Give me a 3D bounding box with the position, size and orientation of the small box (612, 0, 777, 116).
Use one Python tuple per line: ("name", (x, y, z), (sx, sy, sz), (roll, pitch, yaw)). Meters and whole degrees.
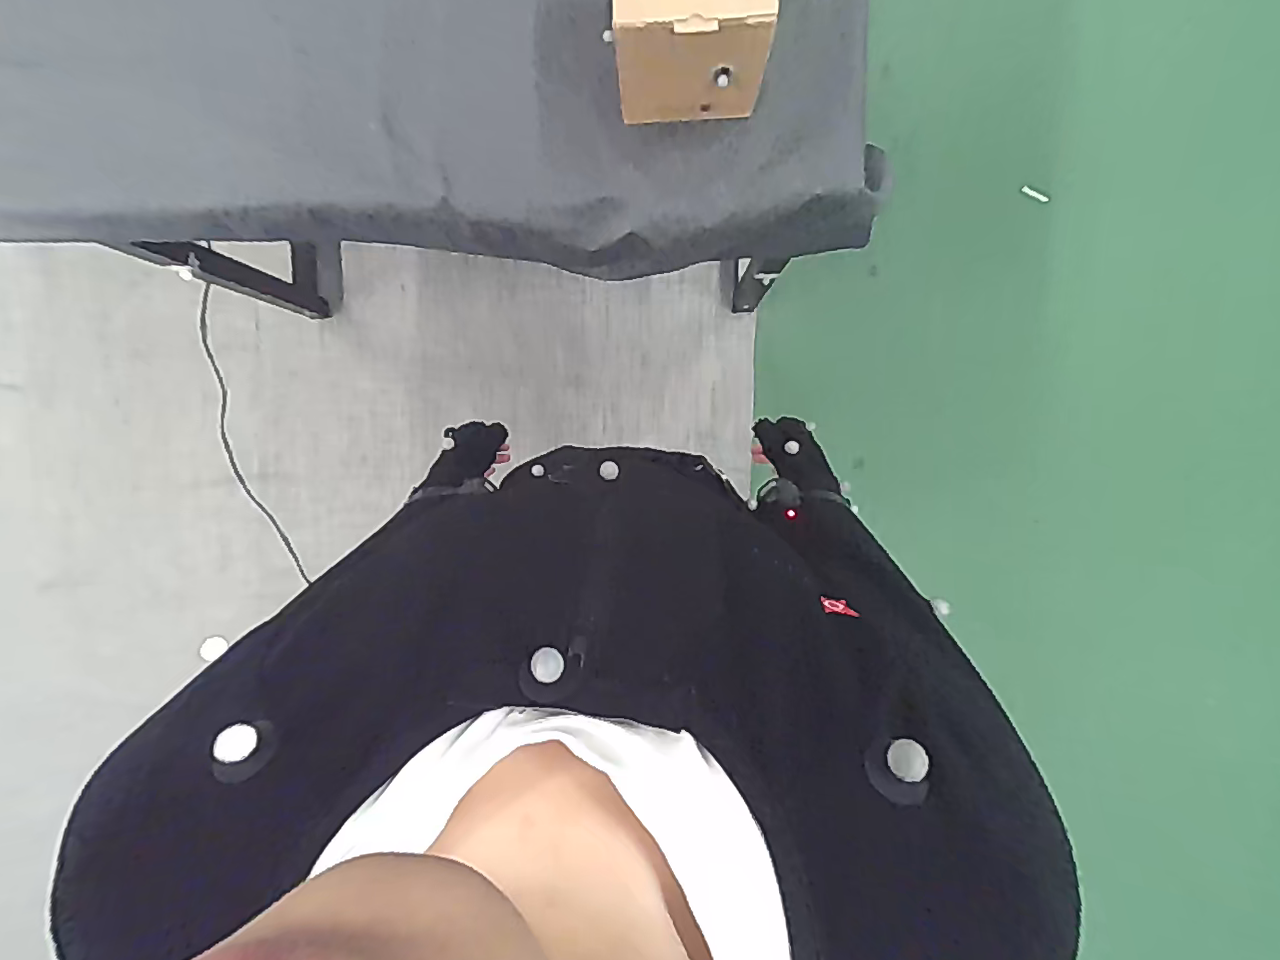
("small box", (0.055, -0.542, 0.610), (0.168, 0.176, 0.179), (-2, 93, 1))
